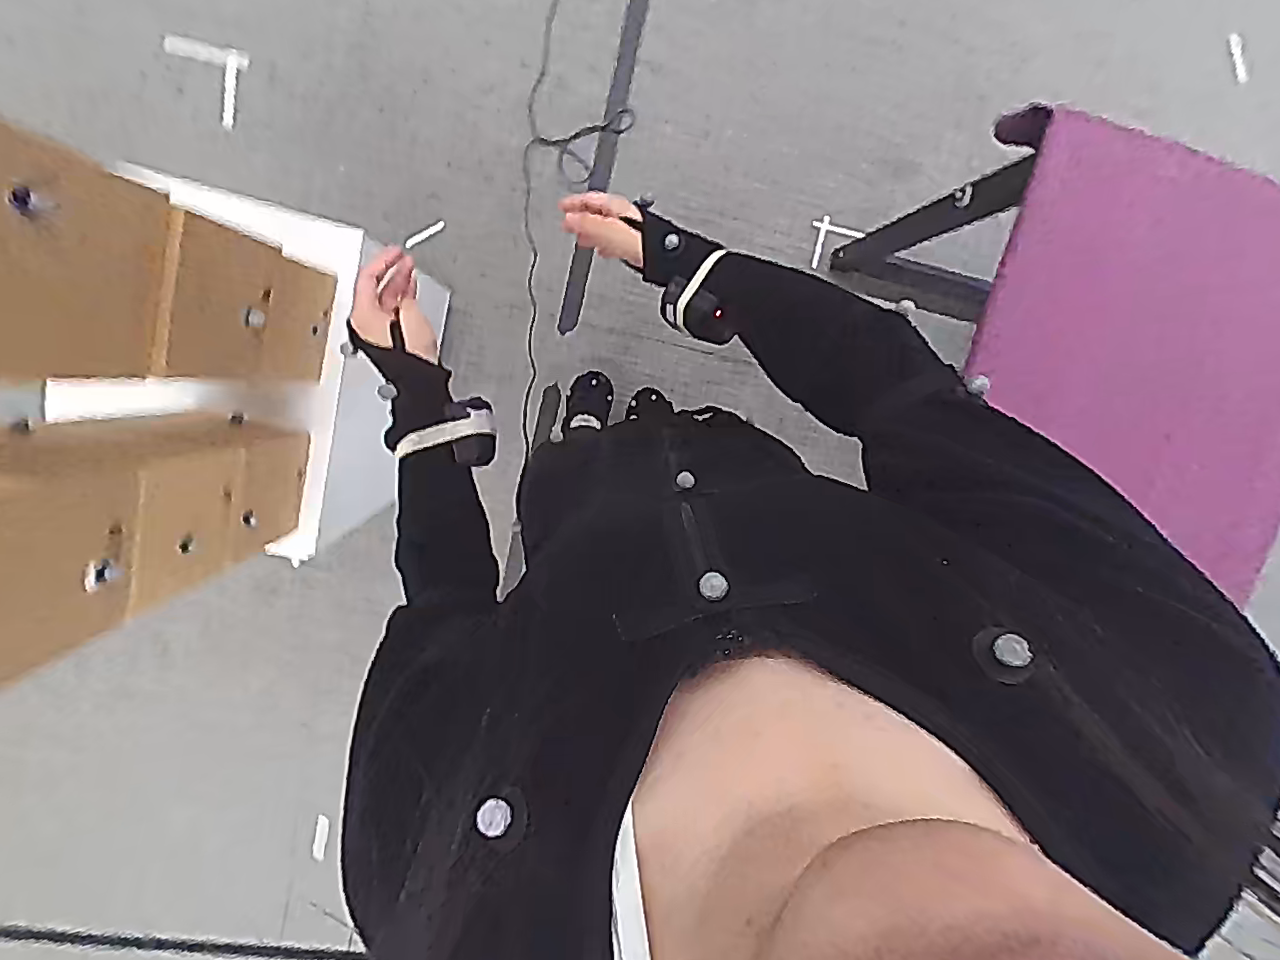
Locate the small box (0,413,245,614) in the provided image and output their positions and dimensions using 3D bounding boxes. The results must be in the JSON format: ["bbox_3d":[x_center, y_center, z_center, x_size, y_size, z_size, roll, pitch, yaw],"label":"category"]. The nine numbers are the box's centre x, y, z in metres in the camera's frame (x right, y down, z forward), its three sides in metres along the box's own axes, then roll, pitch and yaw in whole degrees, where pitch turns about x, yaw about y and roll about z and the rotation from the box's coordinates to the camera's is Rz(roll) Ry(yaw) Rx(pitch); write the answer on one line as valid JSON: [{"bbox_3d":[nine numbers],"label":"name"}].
[{"bbox_3d":[-0.578,0.025,0.594,0.179,0.176,0.168,12,99,-8],"label":"small box"}]

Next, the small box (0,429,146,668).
[{"bbox_3d":[-0.563,0.054,0.435,0.179,0.176,0.168,12,100,-9],"label":"small box"}]

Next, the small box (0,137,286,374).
[{"bbox_3d":[-0.509,-0.210,0.554,0.179,0.176,0.168,15,100,-10],"label":"small box"}]

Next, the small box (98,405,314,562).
[{"bbox_3d":[-0.597,-0.005,0.752,0.179,0.176,0.168,14,100,-7],"label":"small box"}]
